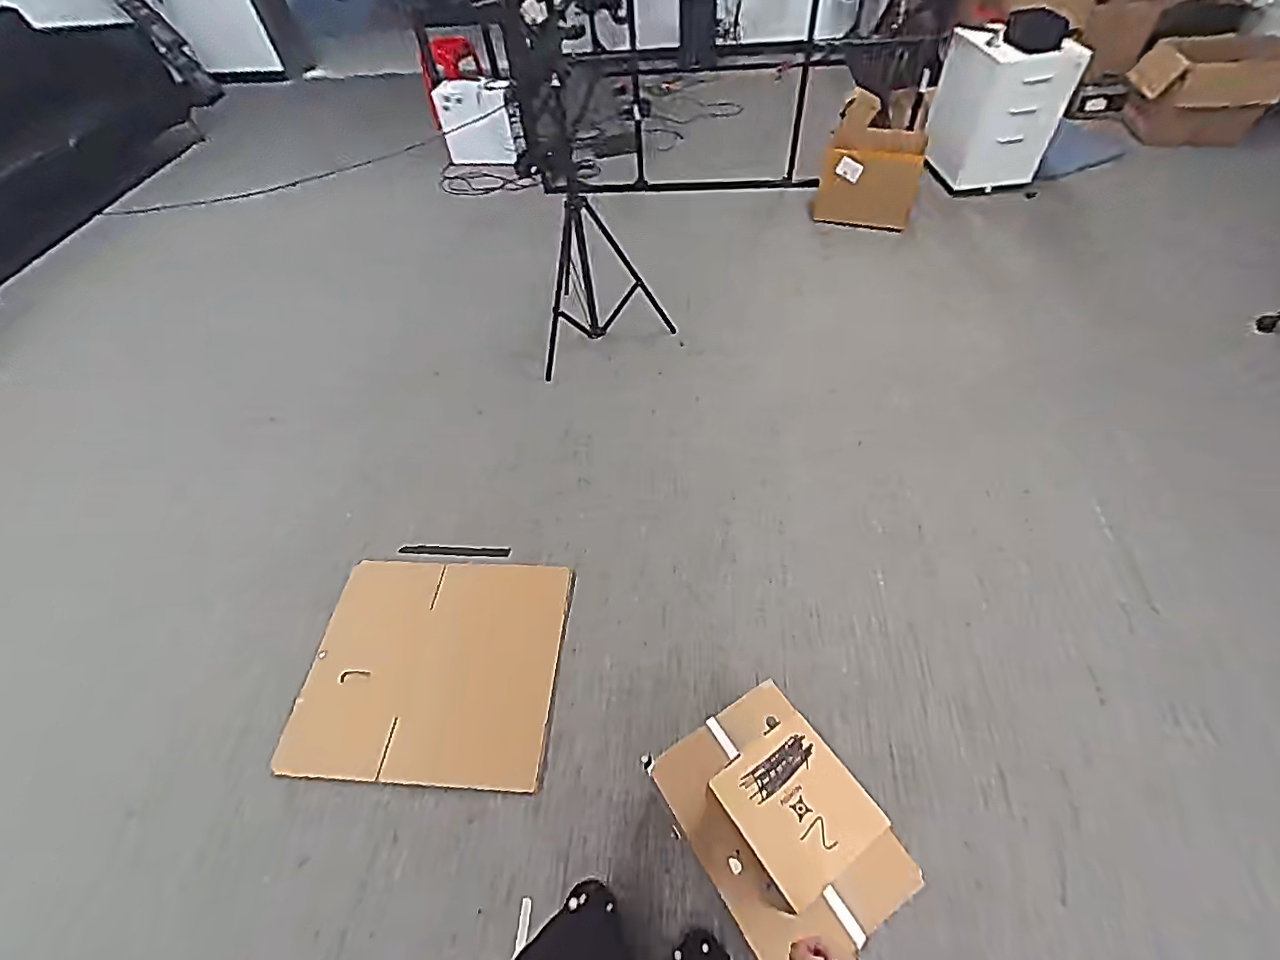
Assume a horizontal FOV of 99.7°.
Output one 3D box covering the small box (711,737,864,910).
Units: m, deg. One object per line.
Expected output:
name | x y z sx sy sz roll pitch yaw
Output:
small box | 0.231 0.572 0.902 0.168 0.176 0.179 -31 57 -17
